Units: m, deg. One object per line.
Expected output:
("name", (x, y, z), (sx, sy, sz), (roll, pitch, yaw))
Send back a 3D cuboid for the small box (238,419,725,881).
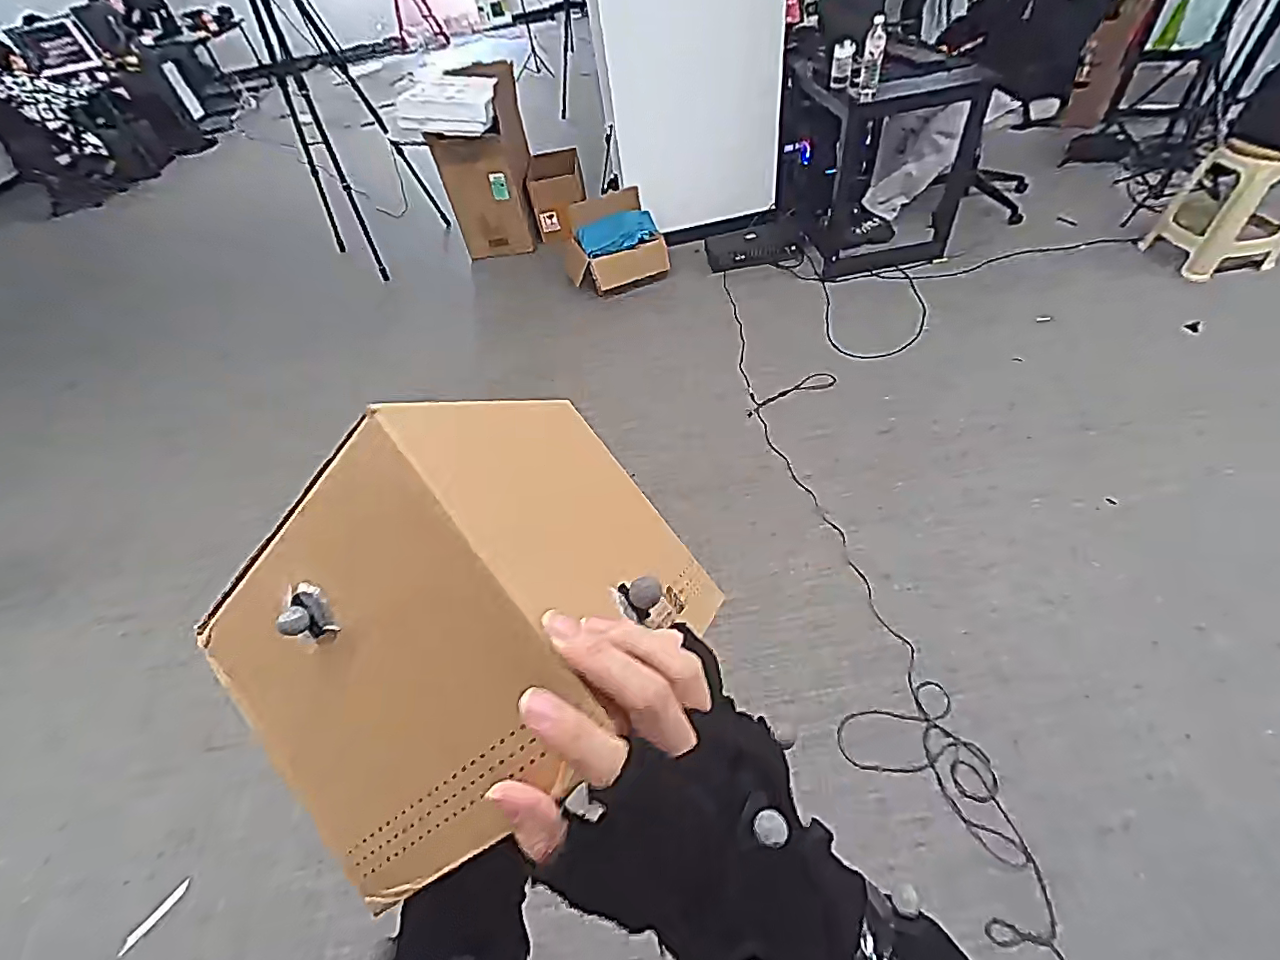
("small box", (-0.081, 0.086, 0.322), (0.179, 0.168, 0.176), (-42, 82, 23))
